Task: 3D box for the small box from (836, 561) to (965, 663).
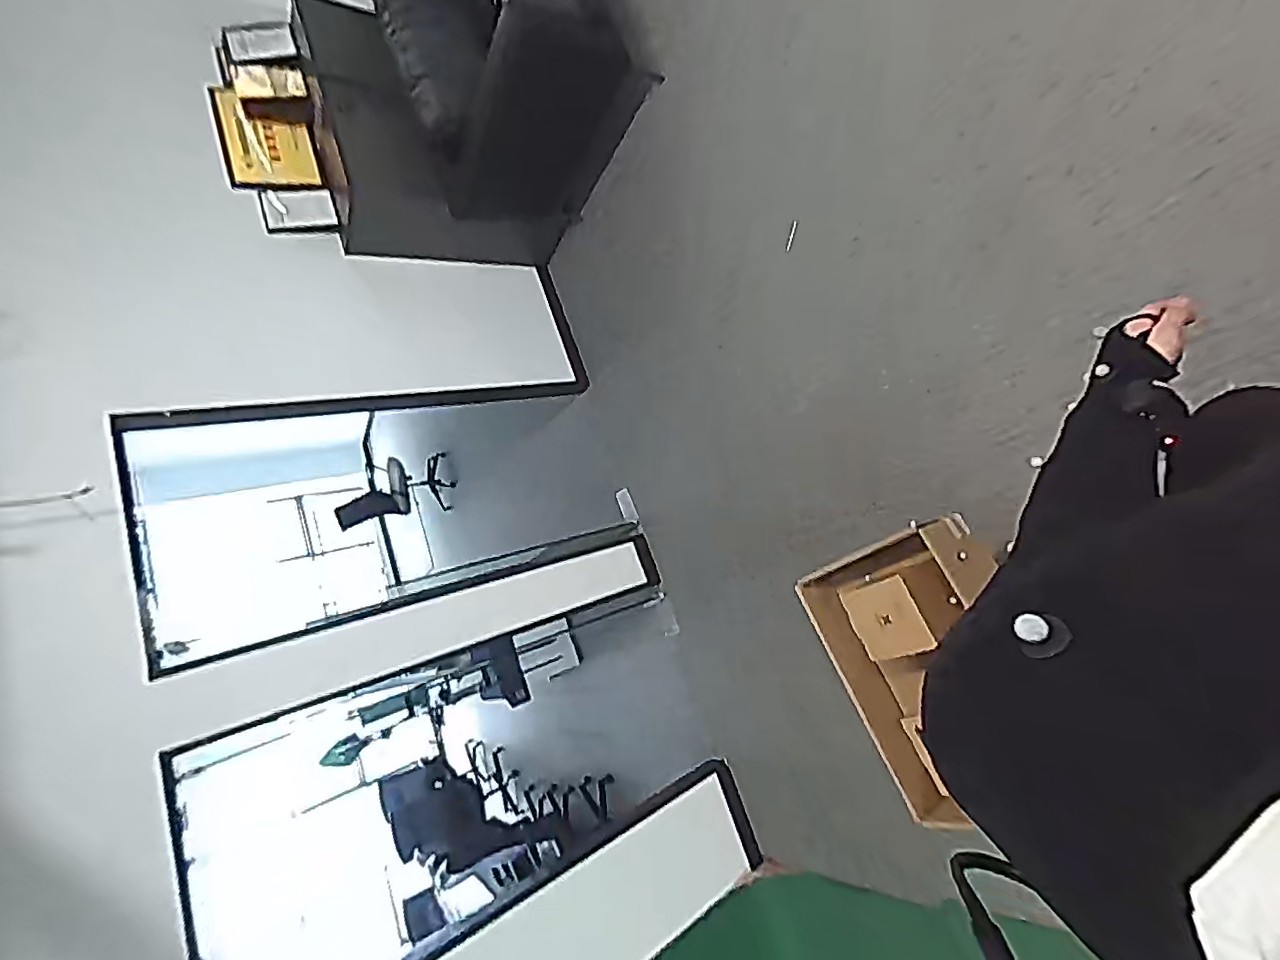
[{"bbox_3d":[0.600,0.304,1.249,0.179,0.176,0.168,-42,67,50],"label":"small box"}]
